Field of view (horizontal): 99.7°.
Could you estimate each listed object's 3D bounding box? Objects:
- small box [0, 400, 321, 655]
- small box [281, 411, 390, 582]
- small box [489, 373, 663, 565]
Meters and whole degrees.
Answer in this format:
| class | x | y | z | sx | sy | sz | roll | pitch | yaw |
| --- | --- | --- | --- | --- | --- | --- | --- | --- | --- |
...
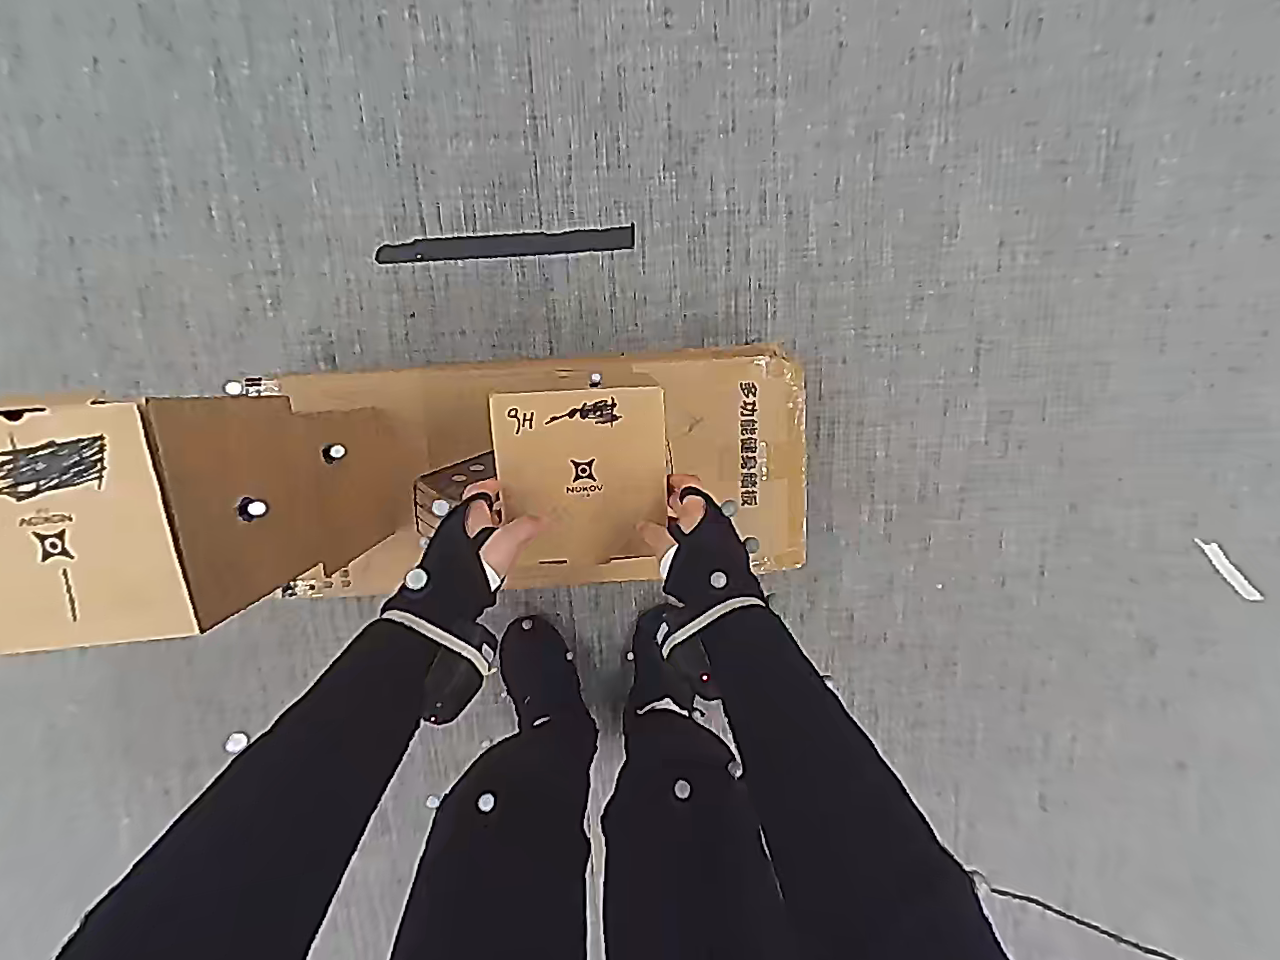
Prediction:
| class | x | y | z | sx | sy | sz | roll | pitch | yaw |
| --- | --- | --- | --- | --- | --- | --- | --- | --- | --- |
| small box | -0.410 | 0.024 | 0.464 | 0.168 | 0.176 | 0.179 | -5 | 101 | -1 |
| small box | -0.413 | 0.011 | 0.628 | 0.168 | 0.176 | 0.179 | -3 | 100 | -1 |
| small box | -0.062 | -0.021 | 0.609 | 0.168 | 0.176 | 0.179 | -3 | 106 | -3 |
